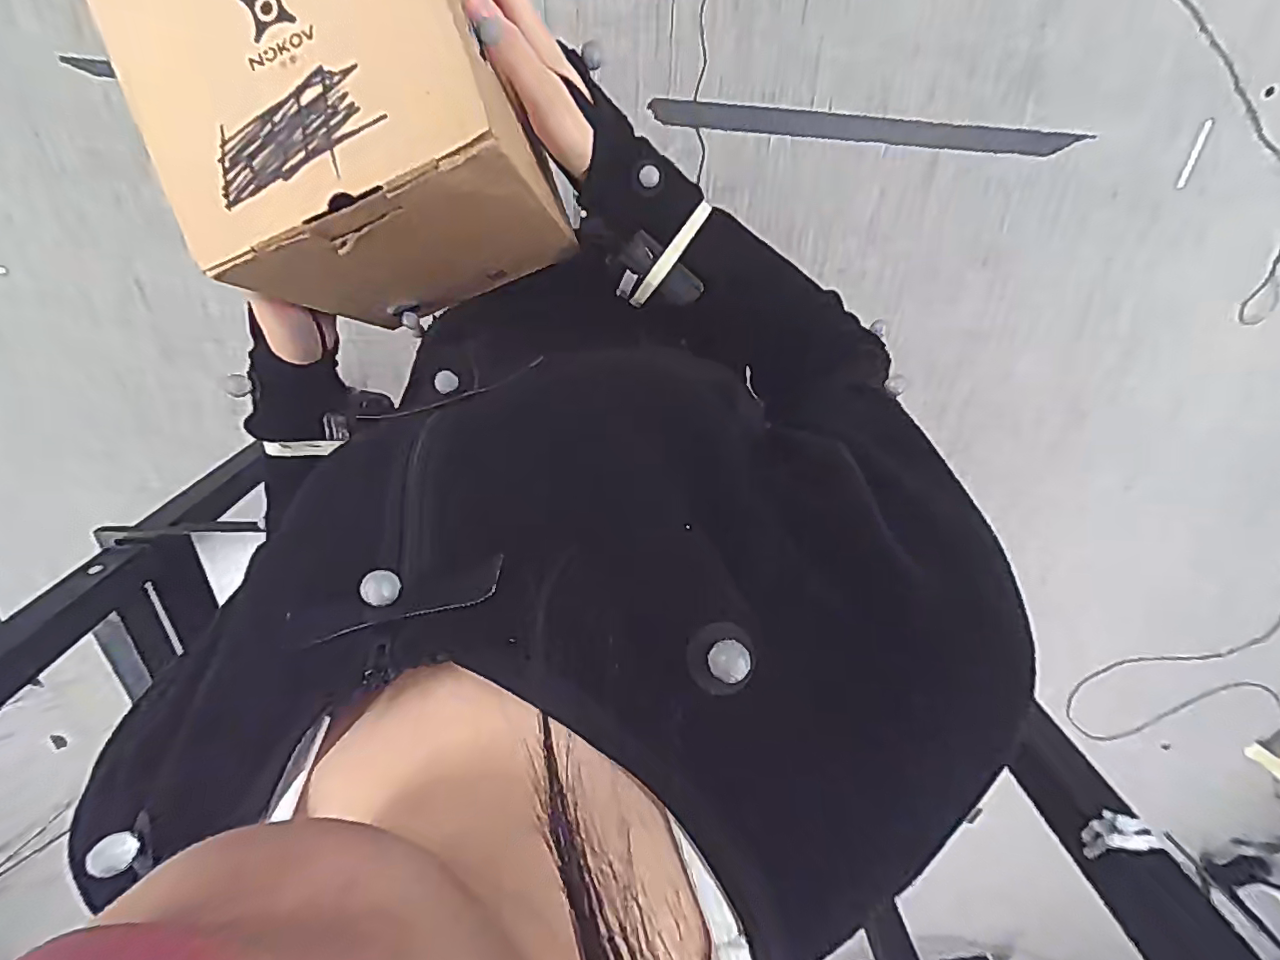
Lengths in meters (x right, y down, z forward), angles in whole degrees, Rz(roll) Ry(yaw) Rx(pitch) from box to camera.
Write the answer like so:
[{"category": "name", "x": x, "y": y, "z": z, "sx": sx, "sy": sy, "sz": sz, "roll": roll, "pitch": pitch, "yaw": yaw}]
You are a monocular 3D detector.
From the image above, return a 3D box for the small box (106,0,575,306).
[{"category": "small box", "x": -0.155, "y": -0.221, "z": 0.331, "sx": 0.168, "sy": 0.176, "sz": 0.179, "roll": -19, "pitch": 93, "yaw": 8}]
